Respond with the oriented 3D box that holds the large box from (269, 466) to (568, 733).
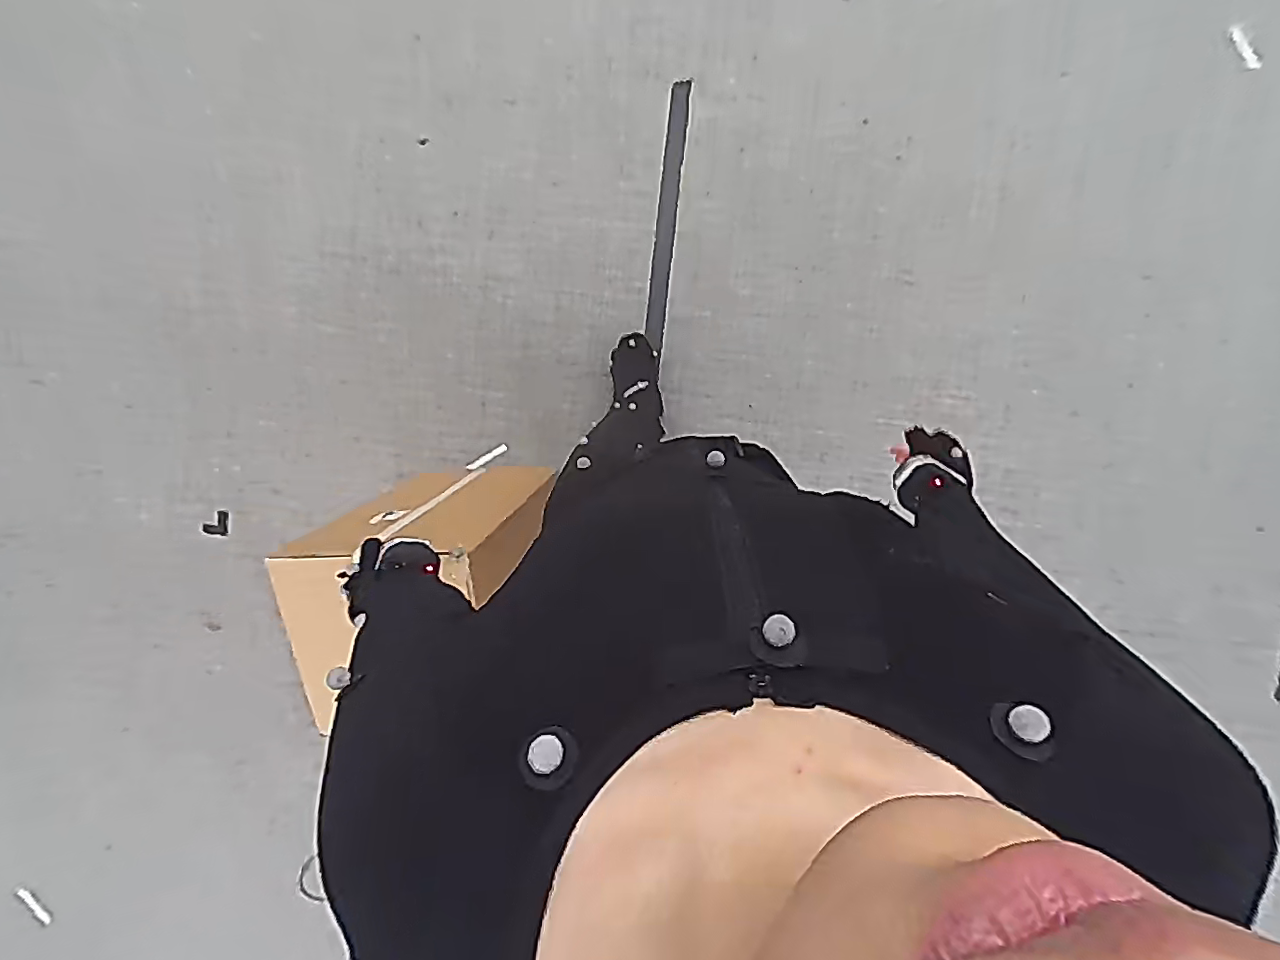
[{"bbox_3d":[-0.341,0.179,0.972,0.320,0.408,0.320,-2,108,11],"label":"large box"}]
